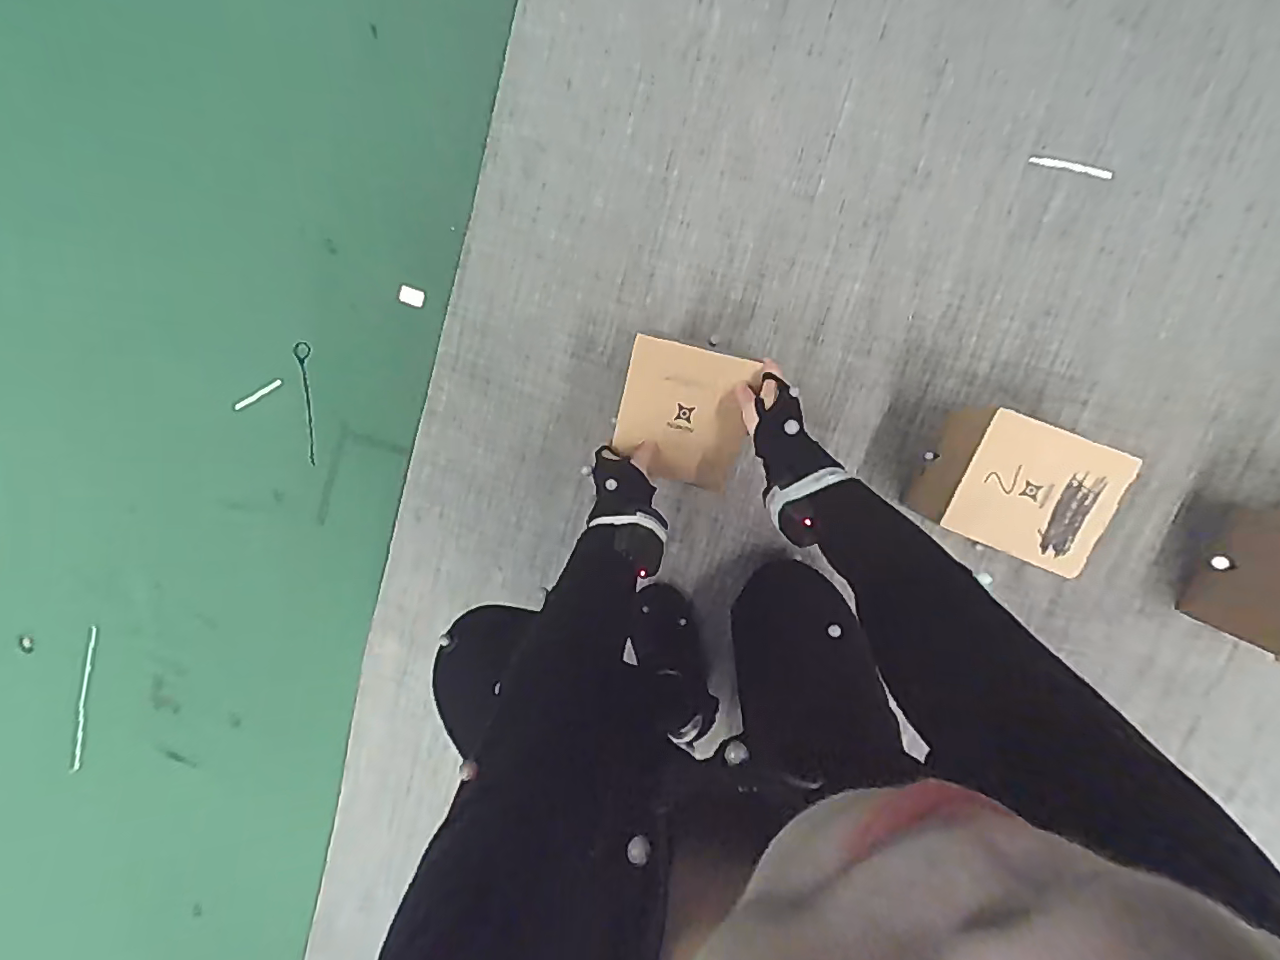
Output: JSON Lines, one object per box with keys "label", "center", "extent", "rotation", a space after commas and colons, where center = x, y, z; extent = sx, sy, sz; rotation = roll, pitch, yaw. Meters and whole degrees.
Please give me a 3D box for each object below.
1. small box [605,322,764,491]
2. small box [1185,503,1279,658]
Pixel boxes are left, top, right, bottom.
{"label": "small box", "center": [0.060, -0.111, 0.752], "extent": [0.168, 0.176, 0.179], "rotation": [15, 110, 0]}
{"label": "small box", "center": [0.871, 0.146, 0.690], "extent": [0.168, 0.176, 0.179], "rotation": [20, 100, 8]}
